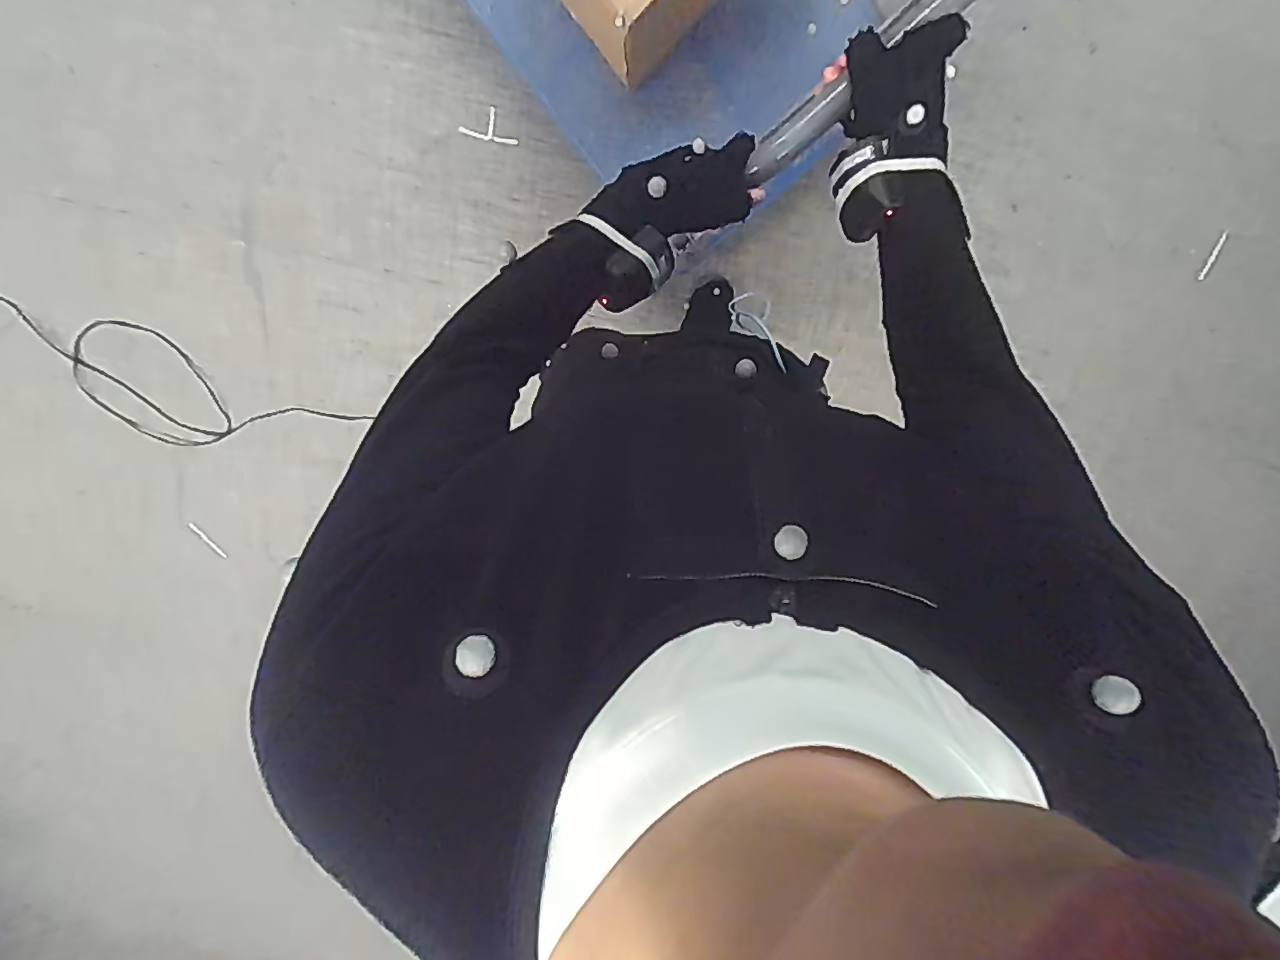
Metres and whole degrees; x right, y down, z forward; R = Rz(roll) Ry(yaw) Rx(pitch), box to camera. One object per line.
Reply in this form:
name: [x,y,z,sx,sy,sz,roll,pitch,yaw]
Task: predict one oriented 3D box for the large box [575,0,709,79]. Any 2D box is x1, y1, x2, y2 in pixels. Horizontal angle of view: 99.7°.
large box: [0.035,-0.941,0.821,0.408,0.320,0.320,-40,106,17]
